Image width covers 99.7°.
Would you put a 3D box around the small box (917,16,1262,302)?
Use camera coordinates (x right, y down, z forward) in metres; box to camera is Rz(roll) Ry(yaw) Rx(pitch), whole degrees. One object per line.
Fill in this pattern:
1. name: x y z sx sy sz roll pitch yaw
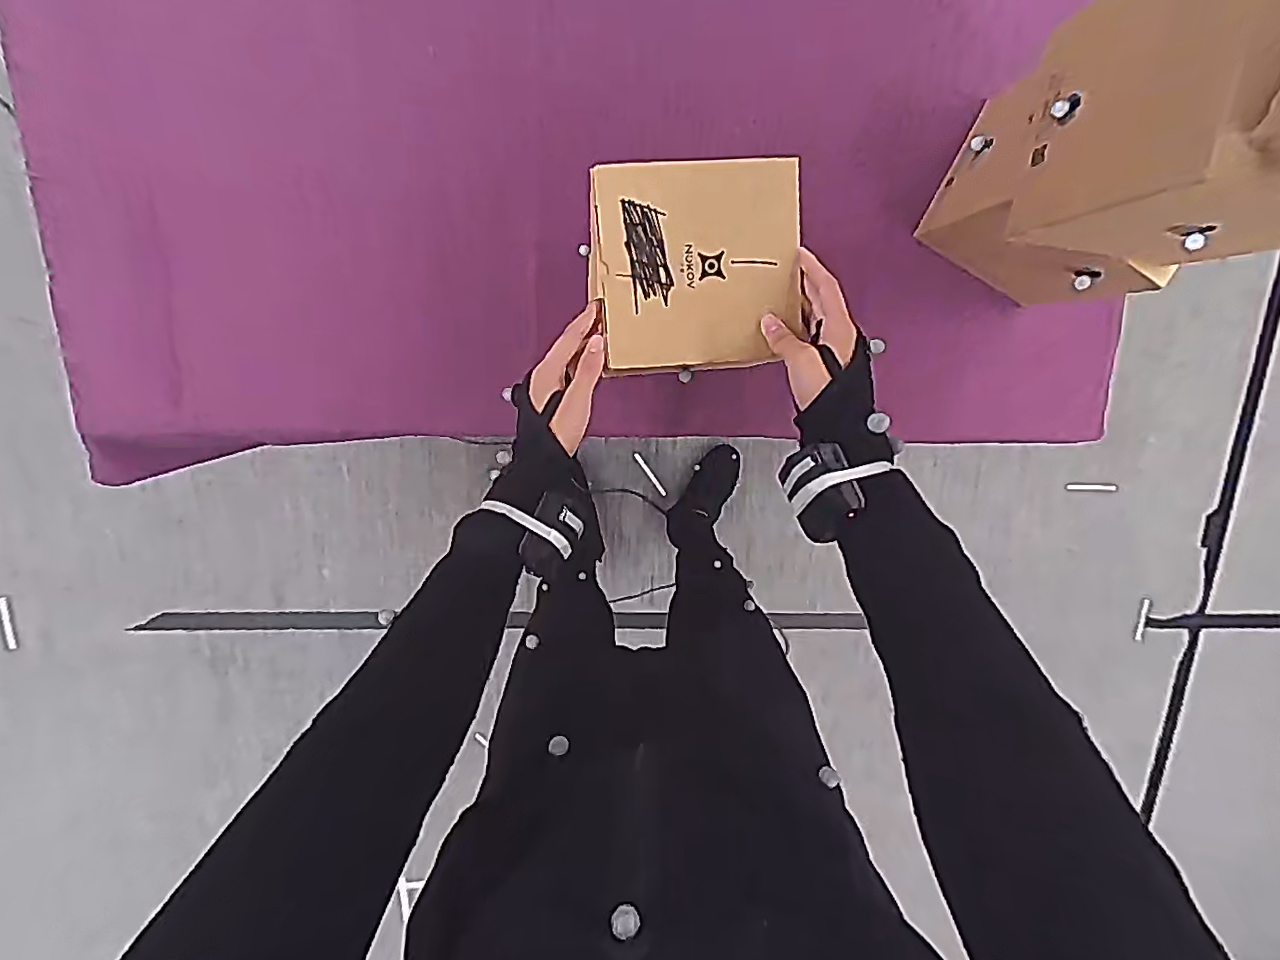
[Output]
1. small box: 0.436 -0.298 0.554 0.179 0.176 0.168 26 98 -10
